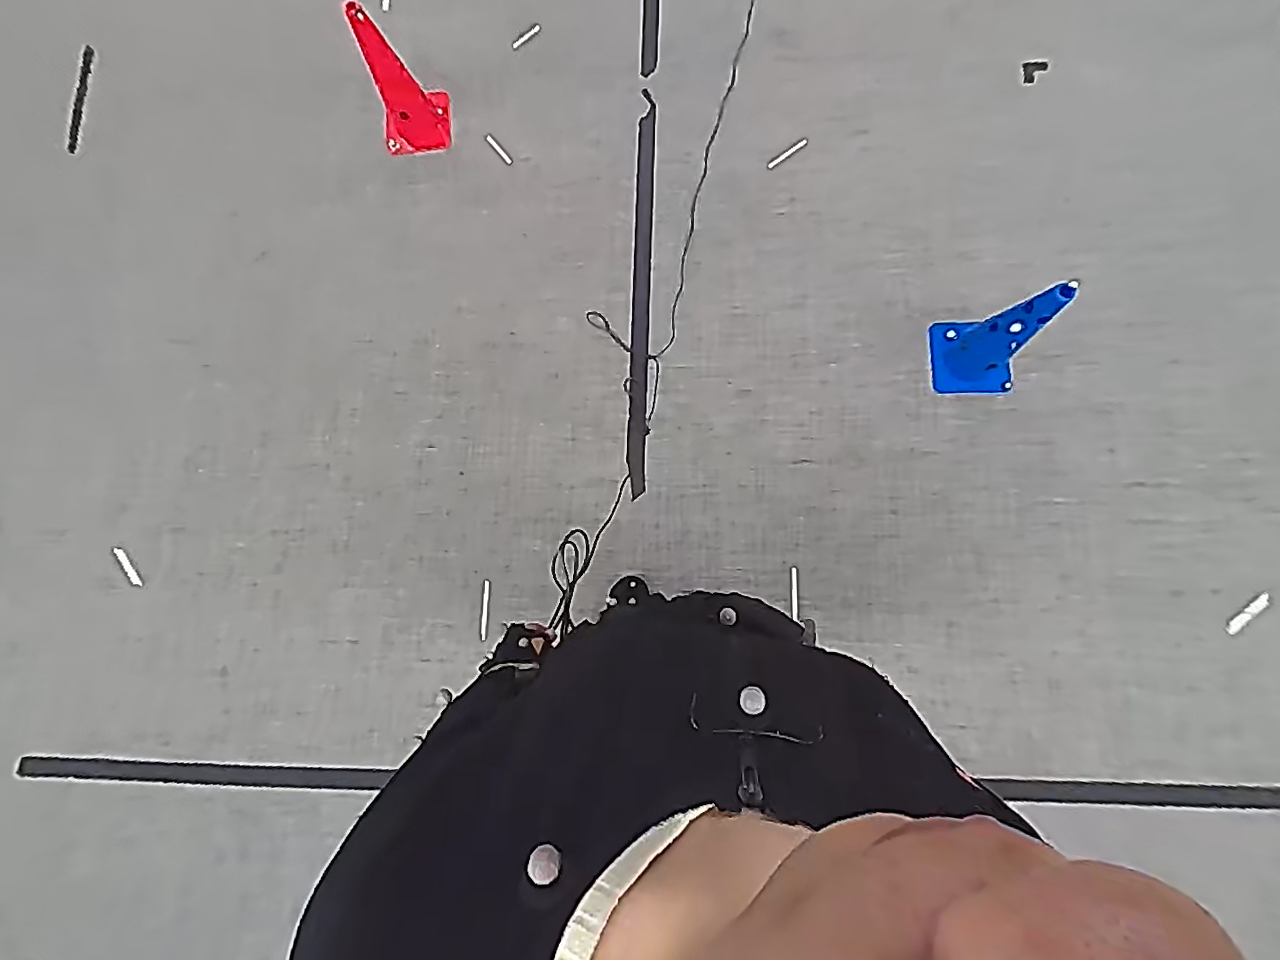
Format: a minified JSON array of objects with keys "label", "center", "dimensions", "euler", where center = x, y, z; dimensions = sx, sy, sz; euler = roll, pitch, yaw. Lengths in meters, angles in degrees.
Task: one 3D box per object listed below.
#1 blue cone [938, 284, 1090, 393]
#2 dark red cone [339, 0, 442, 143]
[{"label":"blue cone","center":[0.879,-0.347,1.264],"dimensions":[0.192,0.380,0.193],"euler":[2,81,2]},{"label":"dark red cone","center":[-0.693,-1.119,1.444],"dimensions":[0.201,0.394,0.202],"euler":[-7,81,1]}]
